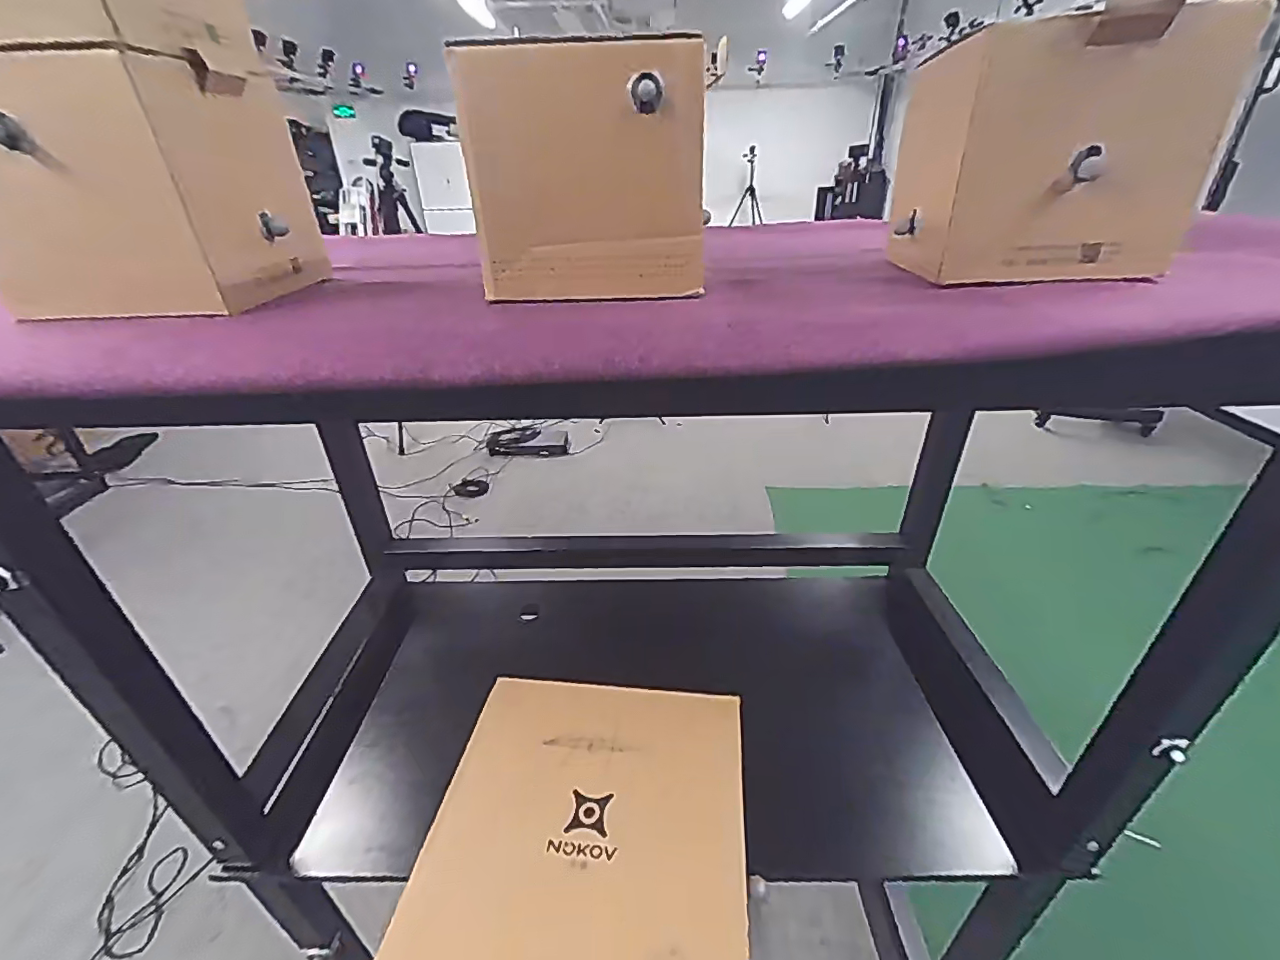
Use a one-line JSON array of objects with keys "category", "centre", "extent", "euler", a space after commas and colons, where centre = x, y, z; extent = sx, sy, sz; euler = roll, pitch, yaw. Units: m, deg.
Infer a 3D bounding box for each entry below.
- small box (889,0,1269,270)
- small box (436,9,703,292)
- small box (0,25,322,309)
[{"category": "small box", "centre": [0.320, -0.270, 0.442], "extent": [0.168, 0.176, 0.179], "euler": [1, 29, 8]}, {"category": "small box", "centre": [-0.041, -0.257, 0.450], "extent": [0.179, 0.176, 0.168], "euler": [-1, 29, 1]}, {"category": "small box", "centre": [-0.404, -0.241, 0.438], "extent": [0.179, 0.176, 0.168], "euler": [-1, 32, 1]}]
